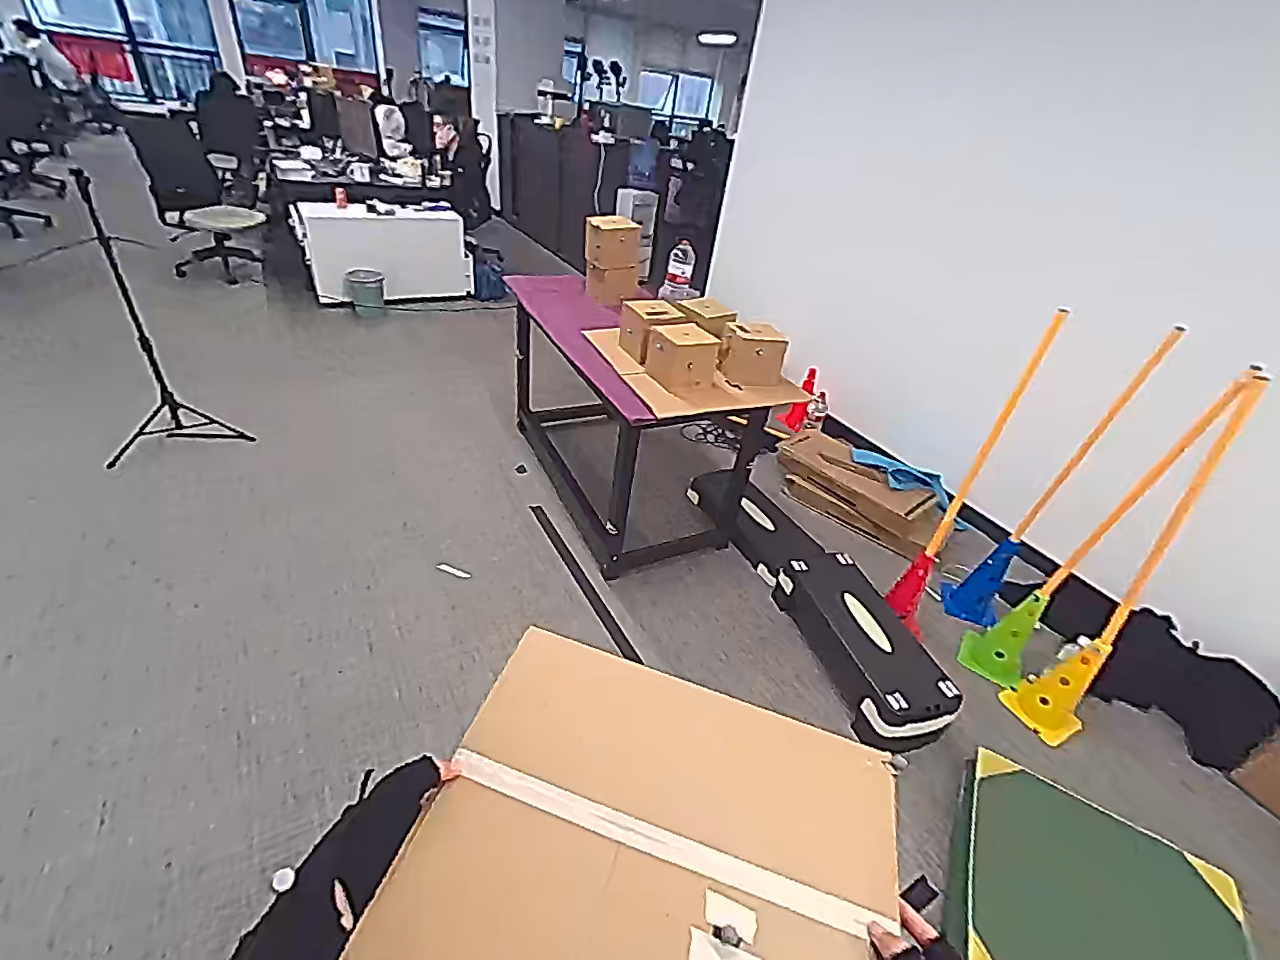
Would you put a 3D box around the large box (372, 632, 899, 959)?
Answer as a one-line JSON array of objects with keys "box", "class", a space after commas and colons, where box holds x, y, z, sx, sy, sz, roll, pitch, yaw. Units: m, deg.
[{"box": [0.008, 0.430, 0.578, 0.408, 0.320, 0.320, 17, 42, 9], "class": "large box"}]
